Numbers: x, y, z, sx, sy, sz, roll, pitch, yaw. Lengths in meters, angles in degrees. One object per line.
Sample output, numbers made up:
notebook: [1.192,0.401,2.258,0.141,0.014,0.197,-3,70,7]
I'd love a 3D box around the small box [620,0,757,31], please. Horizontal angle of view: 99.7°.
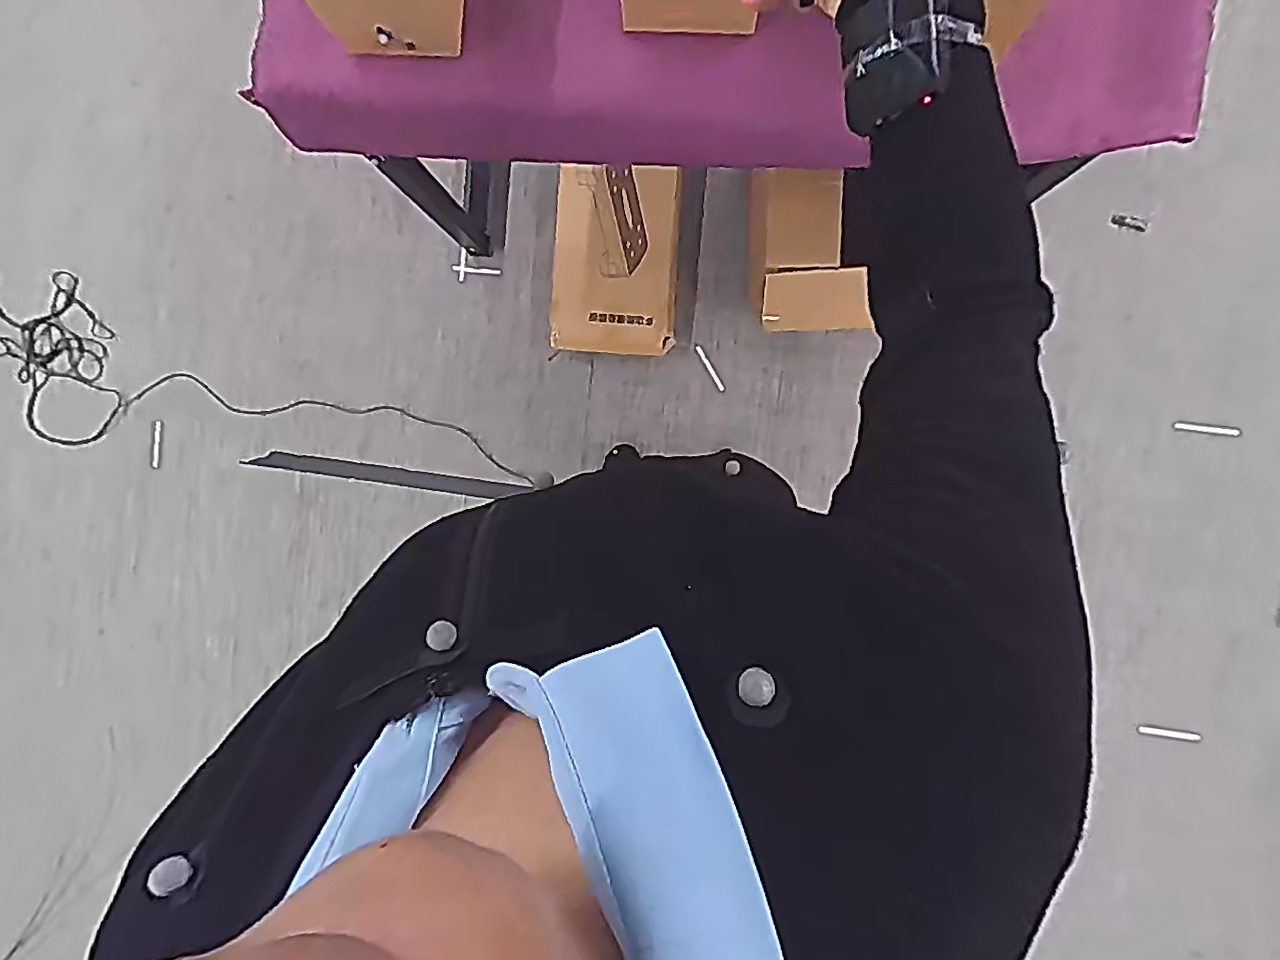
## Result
small box: [0.065,-0.673,0.633,0.179,0.176,0.168,5,91,4]

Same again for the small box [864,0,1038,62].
small box: [0.379,-0.623,0.614,0.179,0.176,0.168,12,94,3]
